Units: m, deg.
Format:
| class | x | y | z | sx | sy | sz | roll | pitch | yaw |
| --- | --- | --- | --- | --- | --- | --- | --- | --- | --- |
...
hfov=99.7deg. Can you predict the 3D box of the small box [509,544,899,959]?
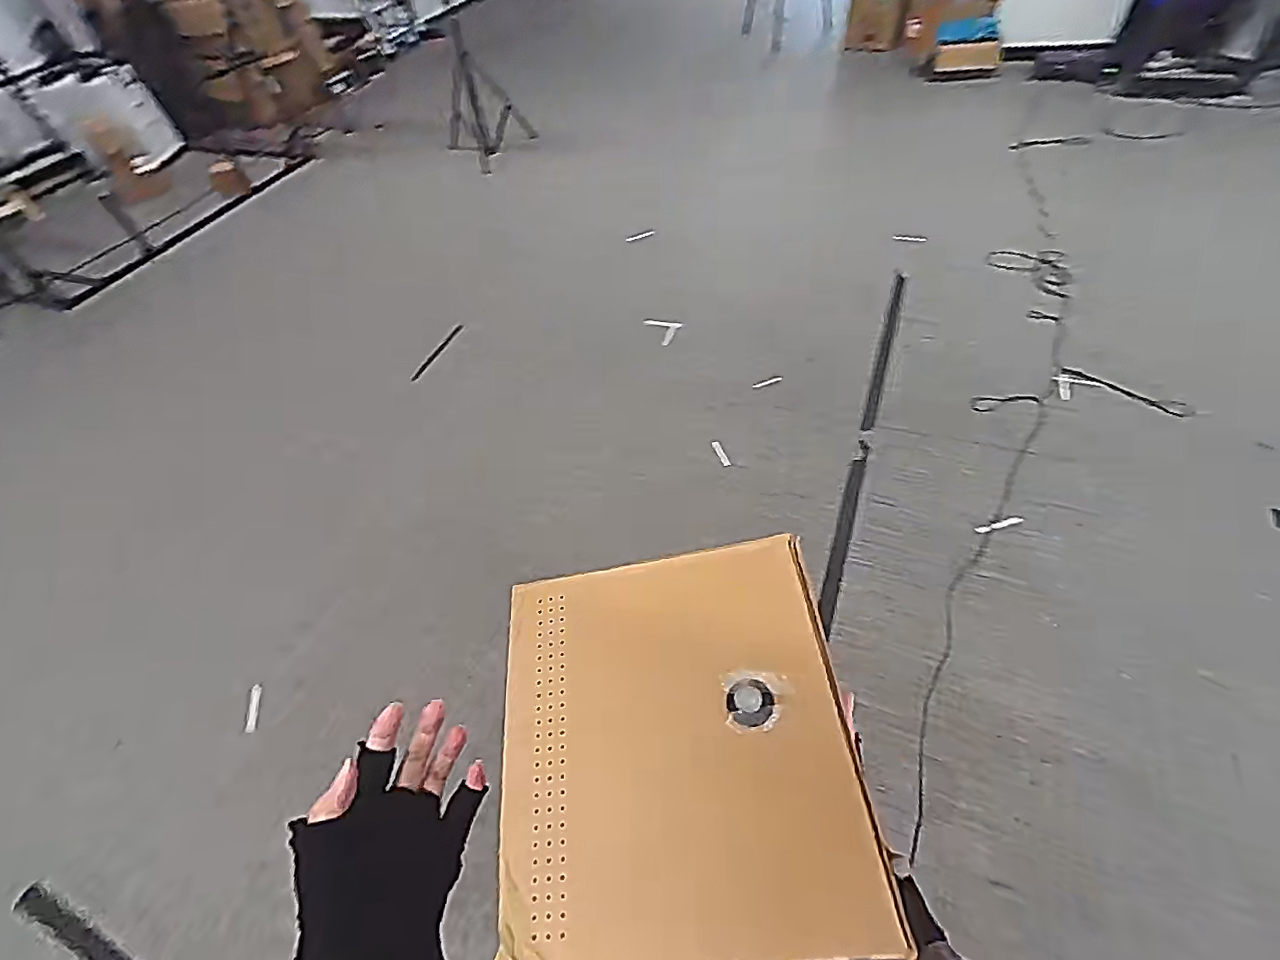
| class | x | y | z | sx | sy | sz | roll | pitch | yaw |
| --- | --- | --- | --- | --- | --- | --- | --- | --- | --- |
| small box | 0.033 | 0.165 | 0.330 | 0.176 | 0.168 | 0.179 | -12 | 54 | 11 |
